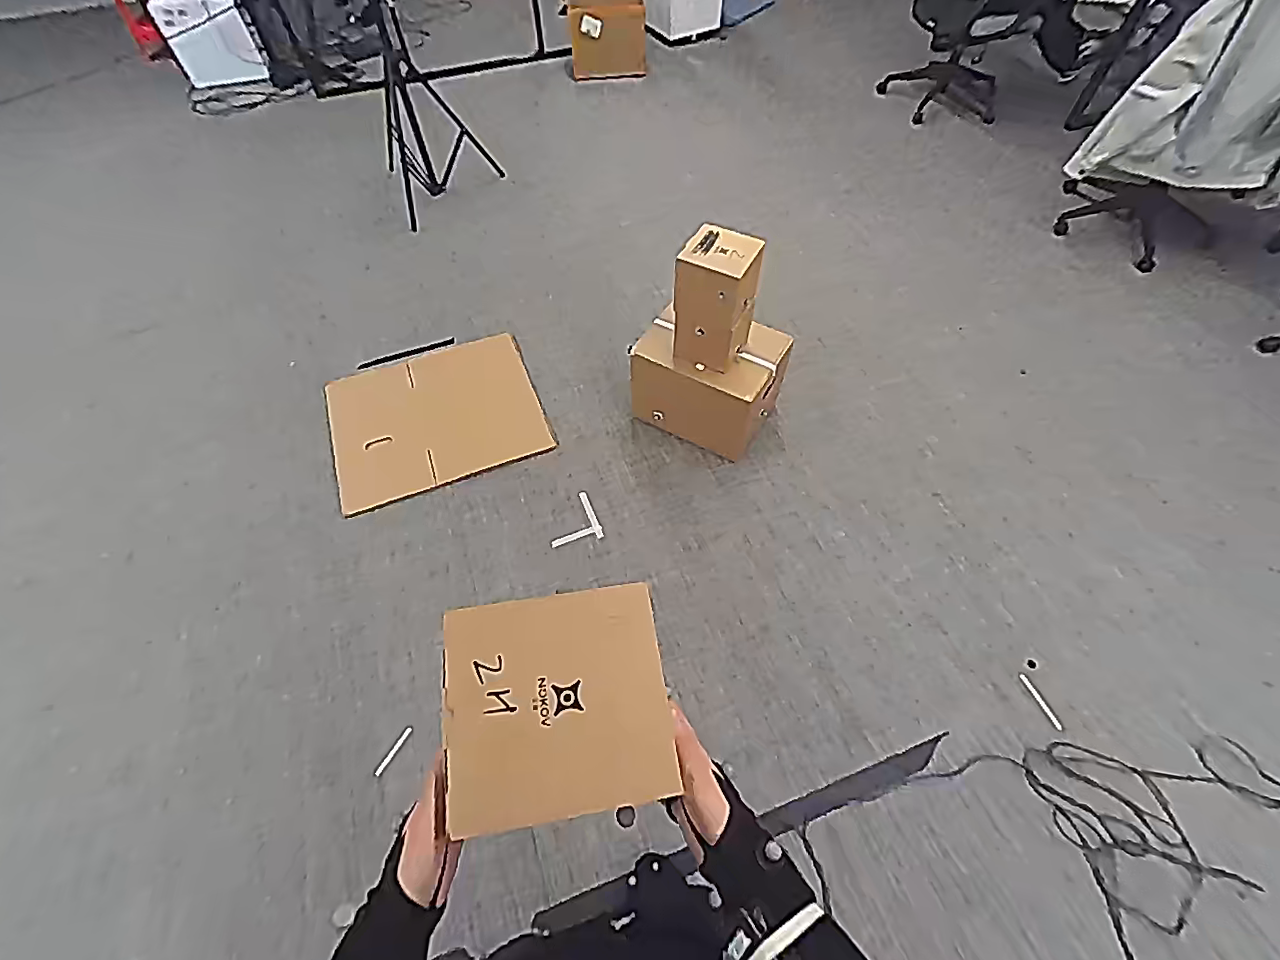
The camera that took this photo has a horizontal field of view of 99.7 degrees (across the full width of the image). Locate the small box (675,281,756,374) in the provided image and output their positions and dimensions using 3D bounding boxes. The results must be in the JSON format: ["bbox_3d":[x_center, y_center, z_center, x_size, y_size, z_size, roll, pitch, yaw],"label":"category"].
[{"bbox_3d":[0.211,-0.435,1.560,0.179,0.176,0.168,25,62,15],"label":"small box"}]

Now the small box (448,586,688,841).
[{"bbox_3d":[-0.067,0.206,0.497,0.179,0.176,0.168,-7,65,-7],"label":"small box"}]
